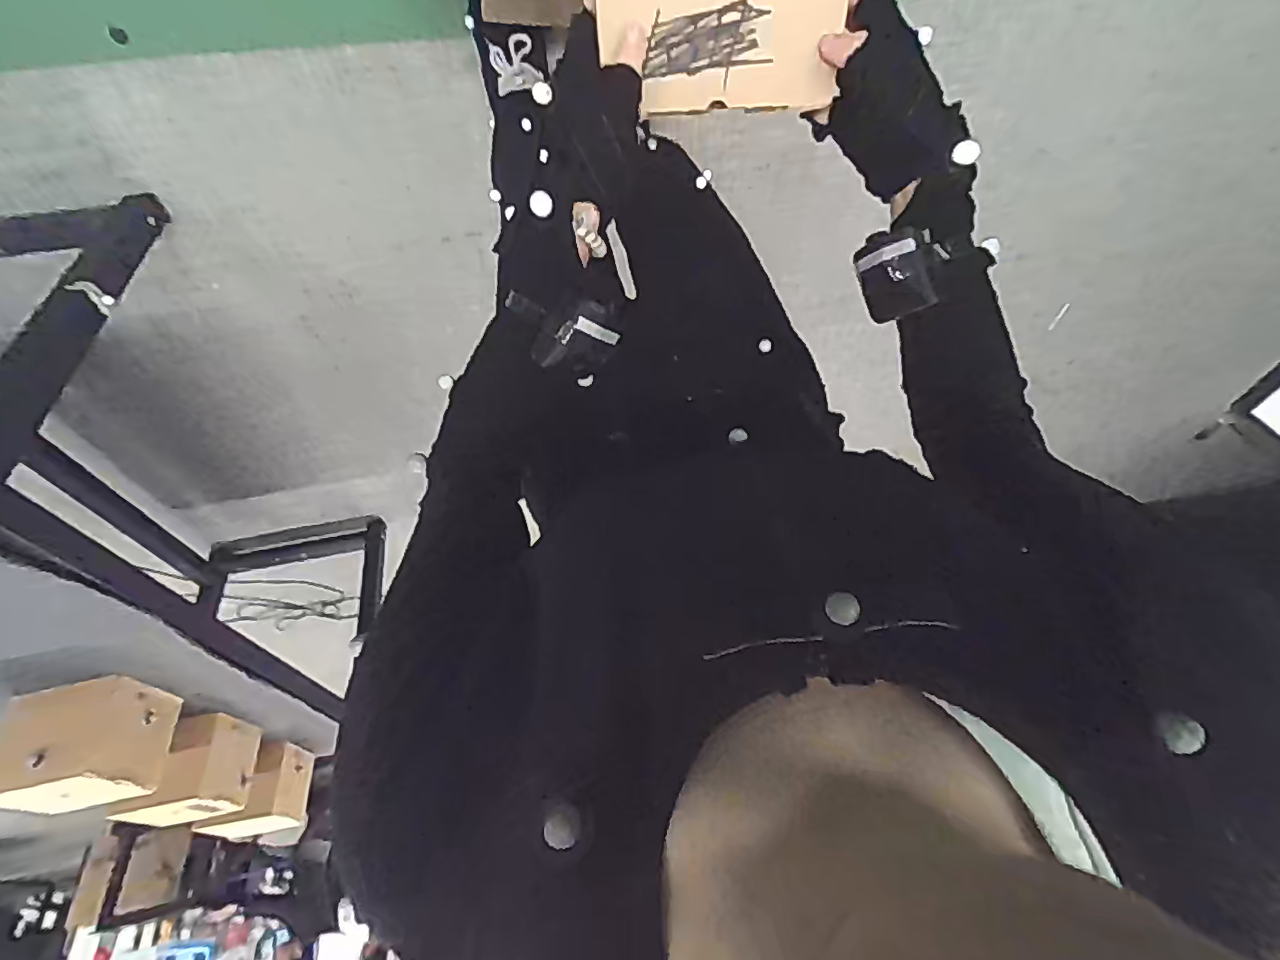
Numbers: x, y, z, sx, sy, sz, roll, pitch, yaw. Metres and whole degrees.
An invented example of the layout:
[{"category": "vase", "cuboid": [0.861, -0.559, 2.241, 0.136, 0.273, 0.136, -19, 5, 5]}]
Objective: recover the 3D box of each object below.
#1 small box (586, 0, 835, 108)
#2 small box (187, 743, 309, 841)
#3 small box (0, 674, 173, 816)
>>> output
[{"category": "small box", "cuboid": [0.045, -0.390, 0.389, 0.168, 0.176, 0.179, -2, 133, 1]}, {"category": "small box", "cuboid": [-0.965, 0.777, 1.350, 0.179, 0.176, 0.168, -7, 142, -8]}, {"category": "small box", "cuboid": [-0.985, 0.464, 0.950, 0.179, 0.176, 0.168, -11, 143, -6]}]
